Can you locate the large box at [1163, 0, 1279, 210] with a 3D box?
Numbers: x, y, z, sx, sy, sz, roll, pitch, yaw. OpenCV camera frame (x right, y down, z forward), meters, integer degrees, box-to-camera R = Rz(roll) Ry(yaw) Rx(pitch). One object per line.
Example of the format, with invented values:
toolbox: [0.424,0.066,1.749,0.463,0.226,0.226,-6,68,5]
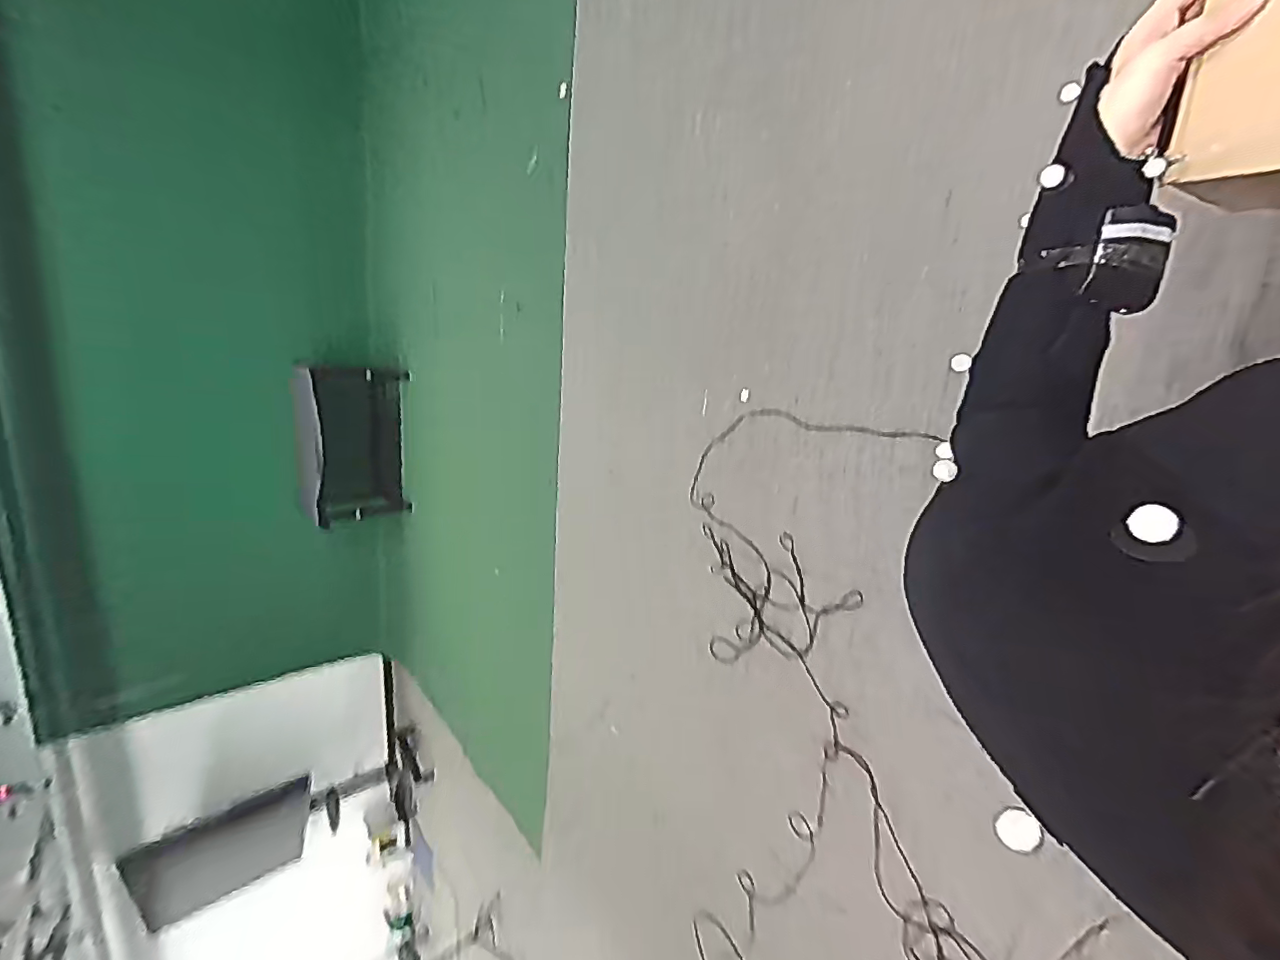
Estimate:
large box: [0.623,-0.354,0.293,0.408,0.320,0.320,19,118,50]
